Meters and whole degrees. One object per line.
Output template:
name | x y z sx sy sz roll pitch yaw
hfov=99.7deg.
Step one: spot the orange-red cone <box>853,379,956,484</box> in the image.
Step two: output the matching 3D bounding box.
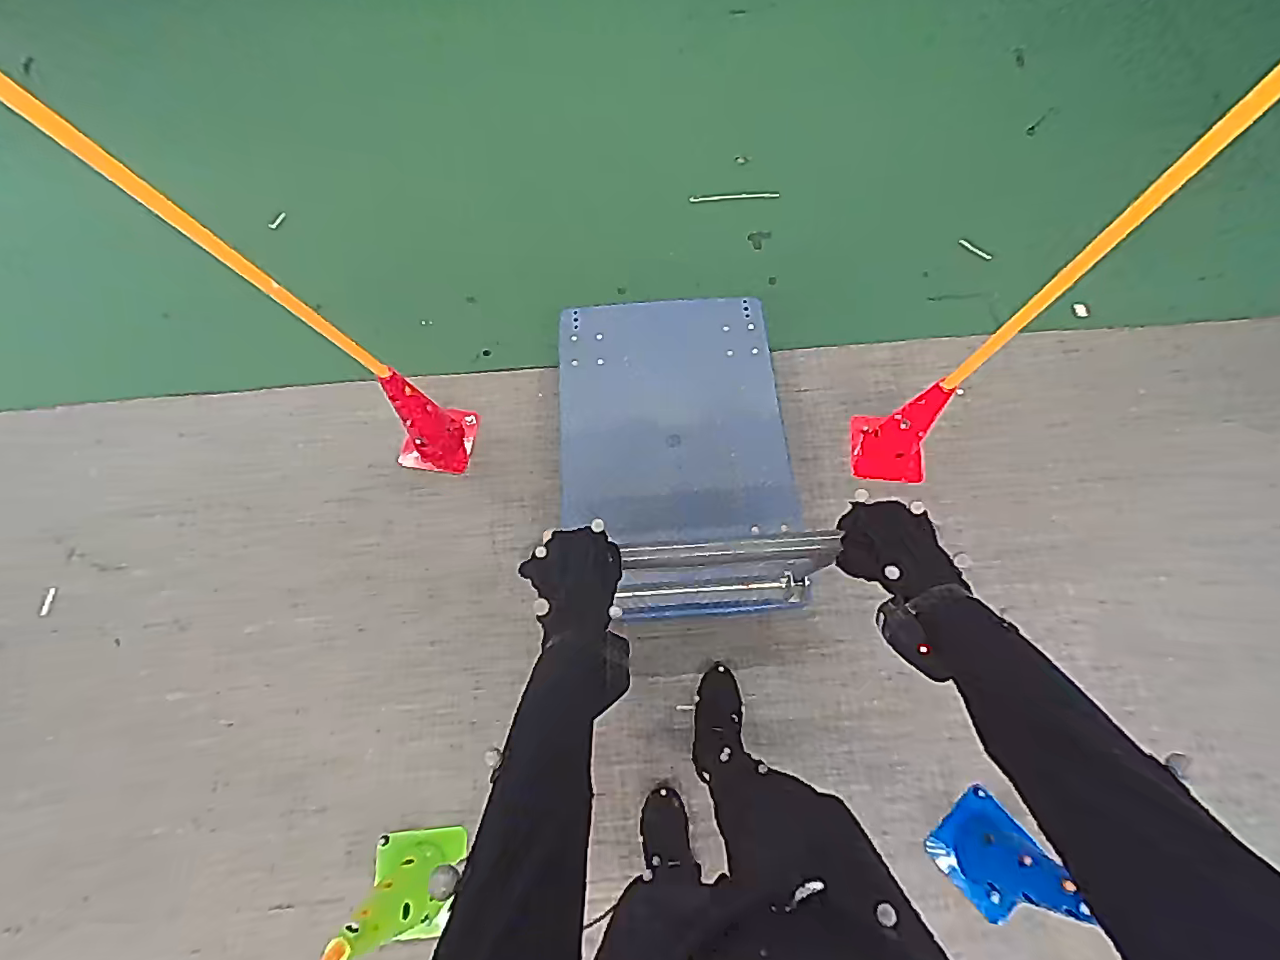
orange-red cone | 0.701 -0.147 1.379 0.198 0.360 0.199 6 70 5
